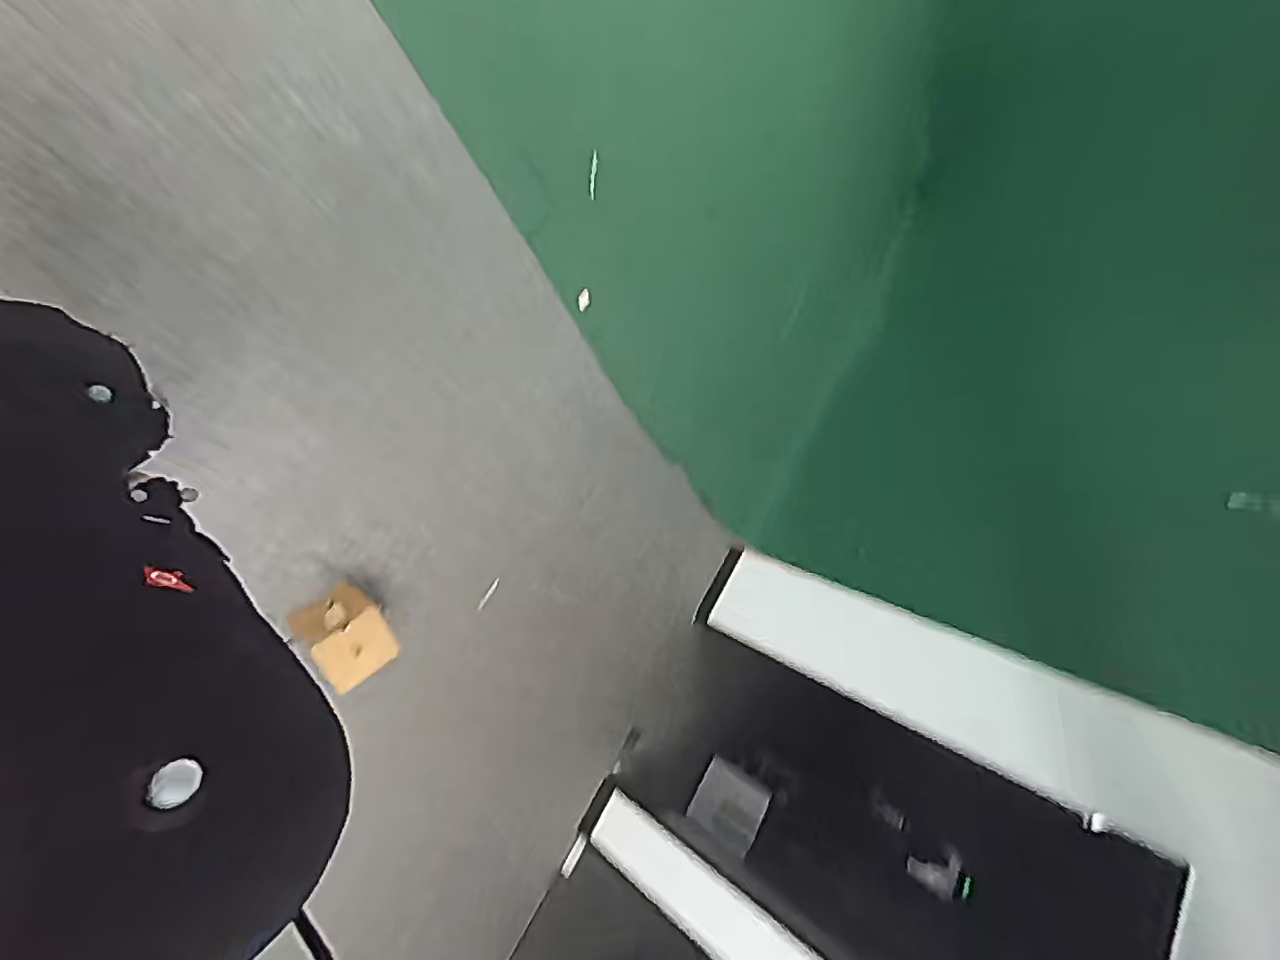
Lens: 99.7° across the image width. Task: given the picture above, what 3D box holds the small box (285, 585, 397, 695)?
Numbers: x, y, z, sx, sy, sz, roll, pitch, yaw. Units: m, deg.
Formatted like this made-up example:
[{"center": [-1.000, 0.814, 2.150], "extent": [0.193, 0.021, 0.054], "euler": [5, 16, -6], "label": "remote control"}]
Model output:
[{"center": [-0.763, 0.400, 1.383], "extent": [0.168, 0.176, 0.179], "euler": [-37, 132, -36], "label": "small box"}]
